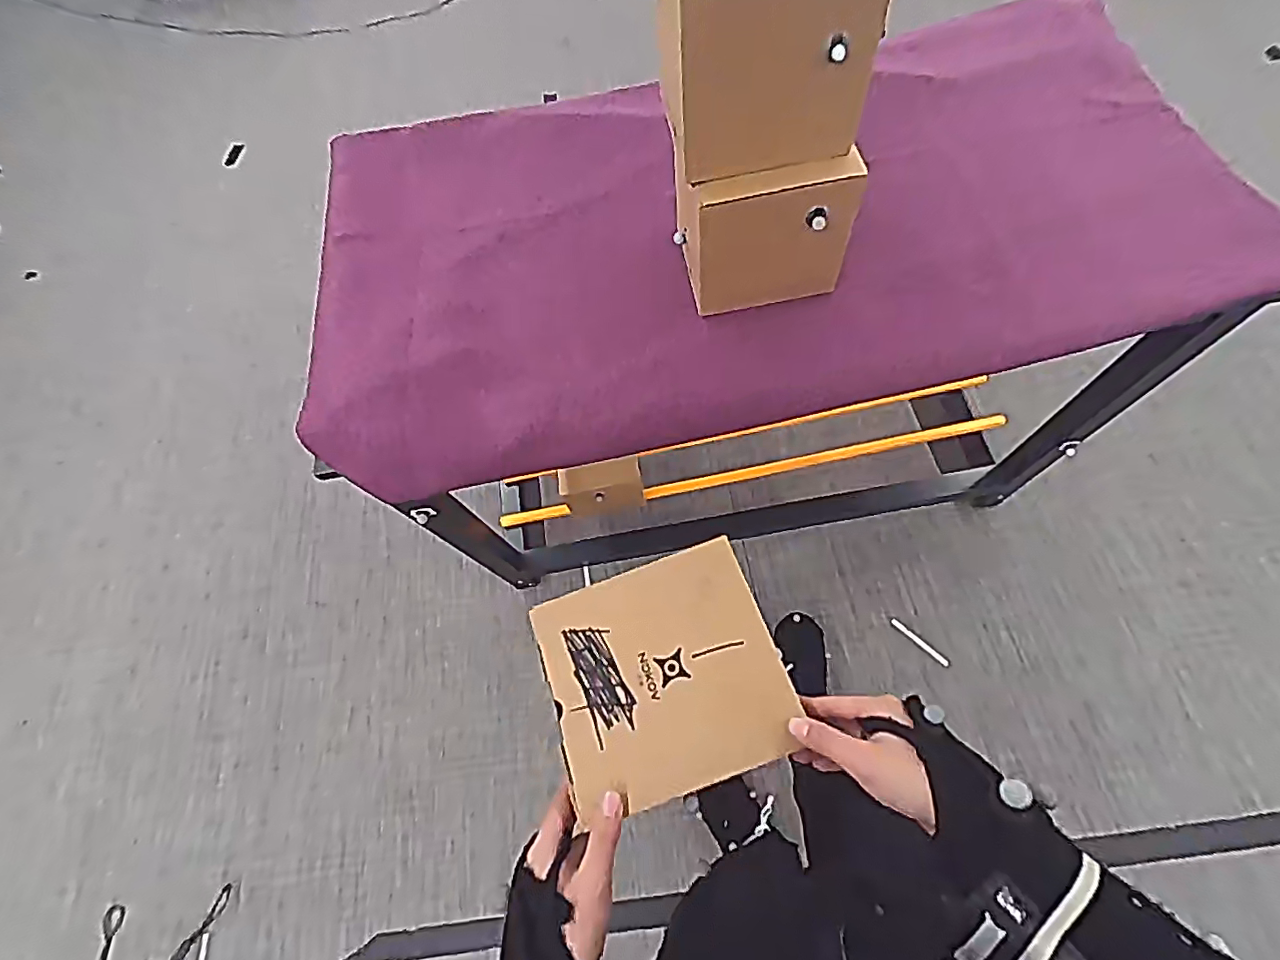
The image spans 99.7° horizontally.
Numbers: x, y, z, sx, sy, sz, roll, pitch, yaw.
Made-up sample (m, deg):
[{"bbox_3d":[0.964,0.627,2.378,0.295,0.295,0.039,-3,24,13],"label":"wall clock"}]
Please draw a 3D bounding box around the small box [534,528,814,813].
[{"bbox_3d":[0.028,0.170,0.476,0.179,0.176,0.168,-20,62,-2],"label":"small box"}]

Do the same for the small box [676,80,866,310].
[{"bbox_3d":[0.142,-0.334,0.655,0.179,0.176,0.168,-10,65,2],"label":"small box"}]

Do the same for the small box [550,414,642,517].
[{"bbox_3d":[-0.093,-0.028,1.229,0.179,0.176,0.168,-11,68,1],"label":"small box"}]
